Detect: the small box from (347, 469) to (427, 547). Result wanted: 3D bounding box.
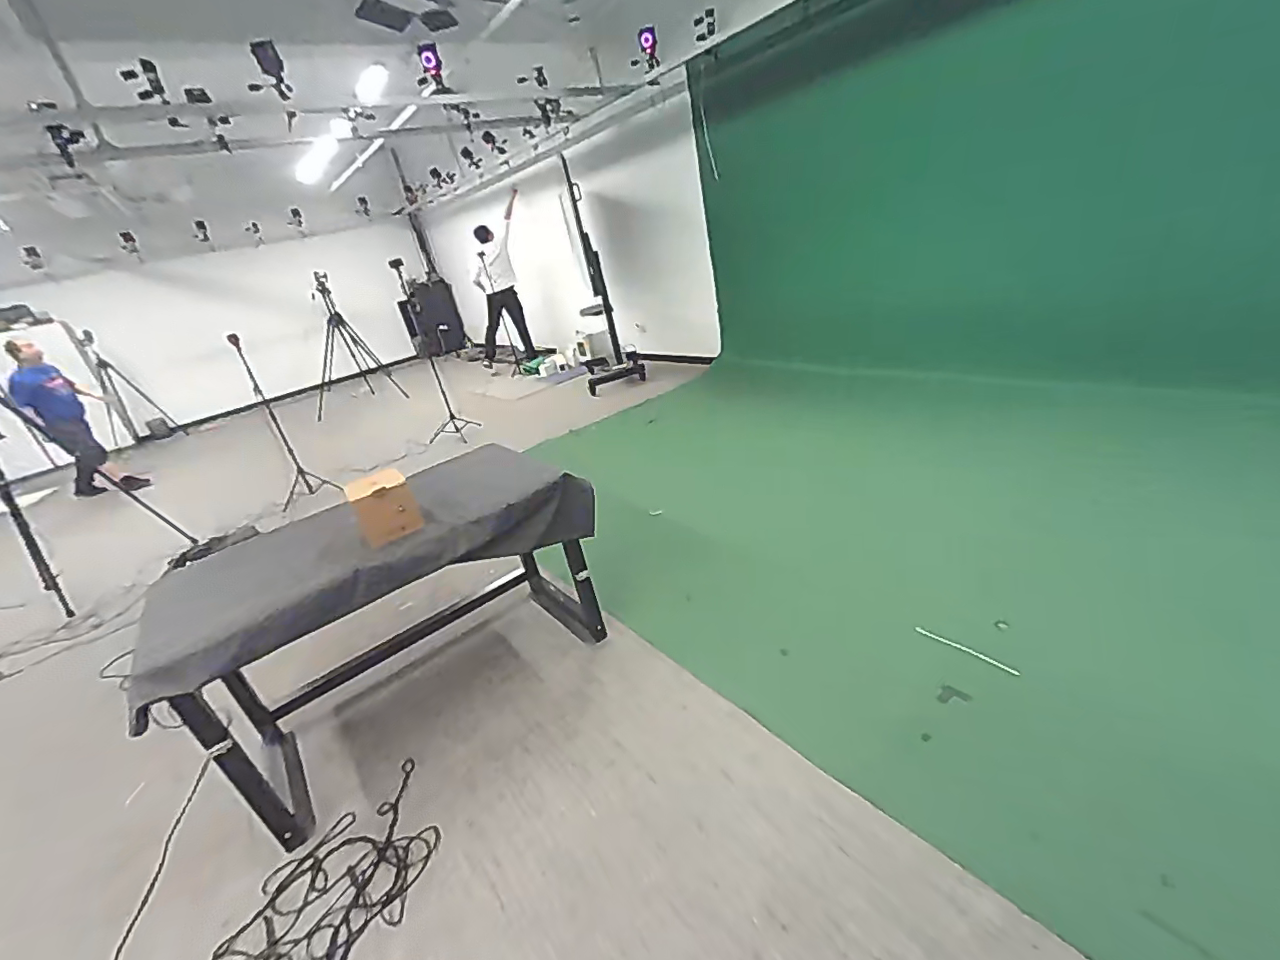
[{"bbox_3d":[-0.784,0.088,1.680,0.168,0.176,0.179,-24,25,-27],"label":"small box"}]
